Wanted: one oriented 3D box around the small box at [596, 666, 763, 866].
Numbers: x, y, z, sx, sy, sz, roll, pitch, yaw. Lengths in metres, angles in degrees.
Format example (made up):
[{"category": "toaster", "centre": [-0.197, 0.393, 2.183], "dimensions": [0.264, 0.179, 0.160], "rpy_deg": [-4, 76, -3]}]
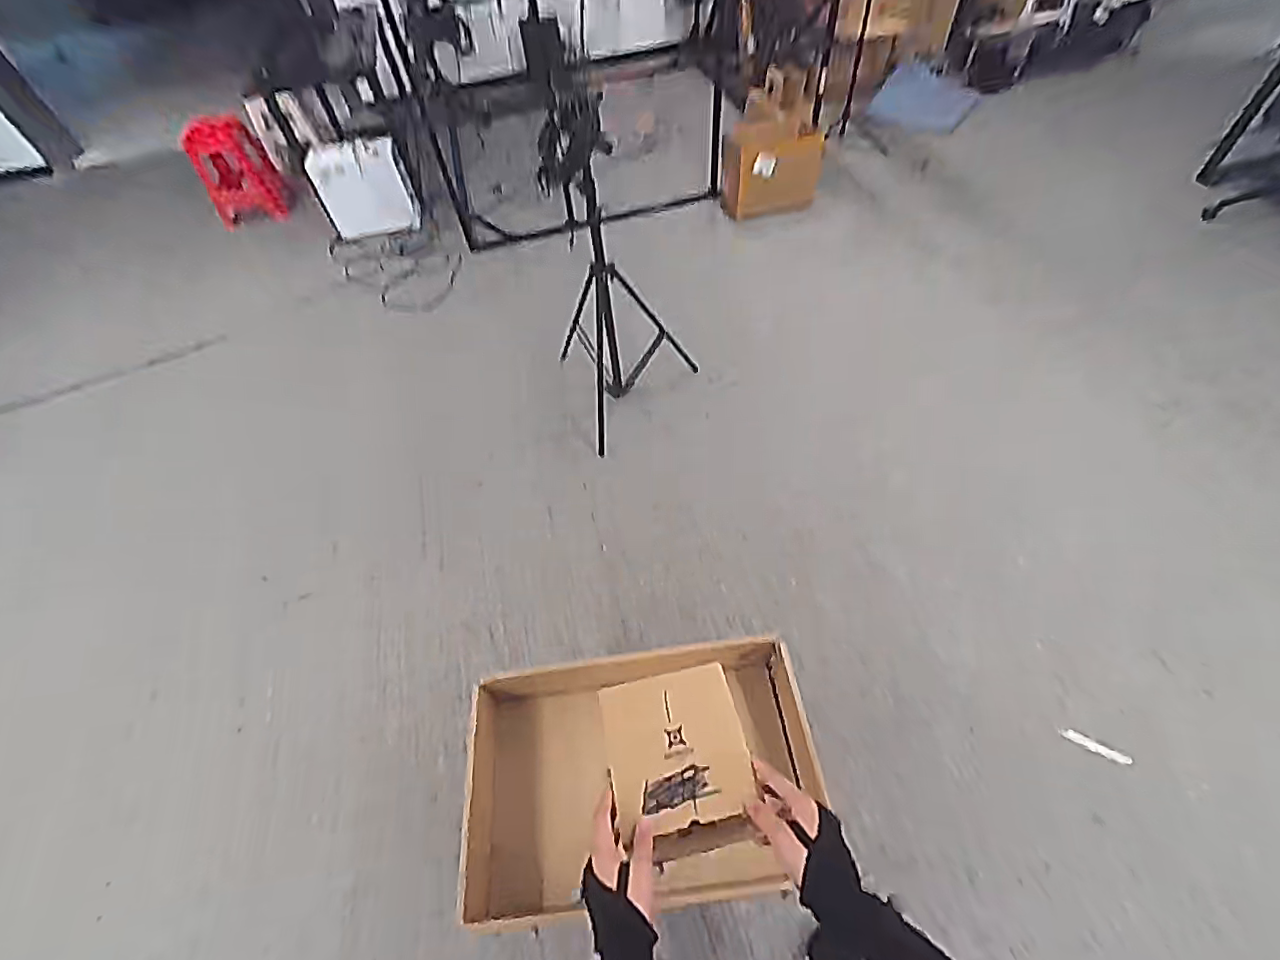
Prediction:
[{"category": "small box", "centre": [0.047, 0.372, 0.695], "dimensions": [0.168, 0.176, 0.179], "rpy_deg": [-12, 46, -6]}]
